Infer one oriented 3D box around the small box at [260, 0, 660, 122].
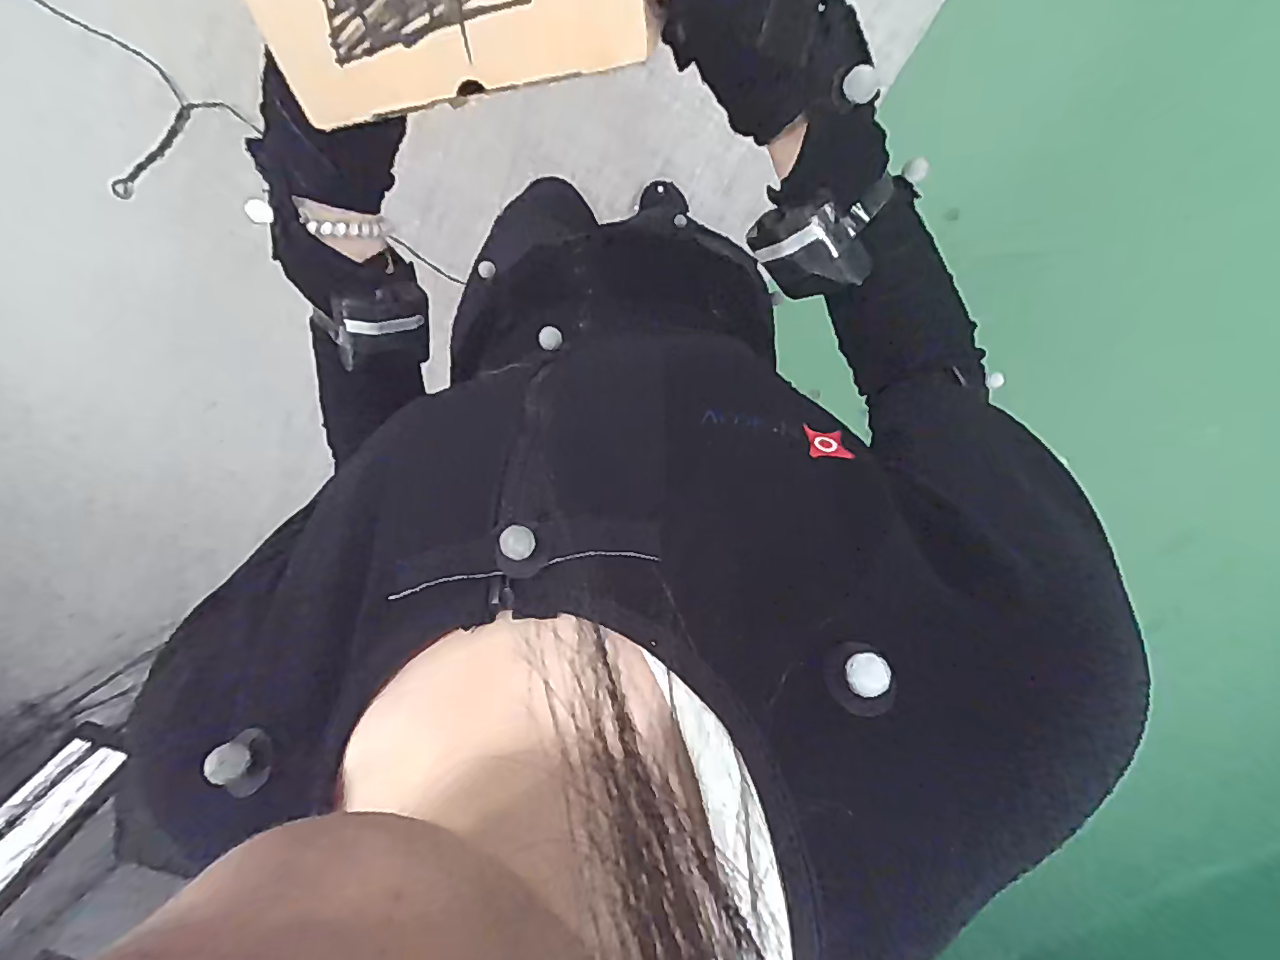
[{"bbox_3d":[-0.081,-0.295,0.238,0.168,0.176,0.179,-3,138,11],"label":"small box"}]
